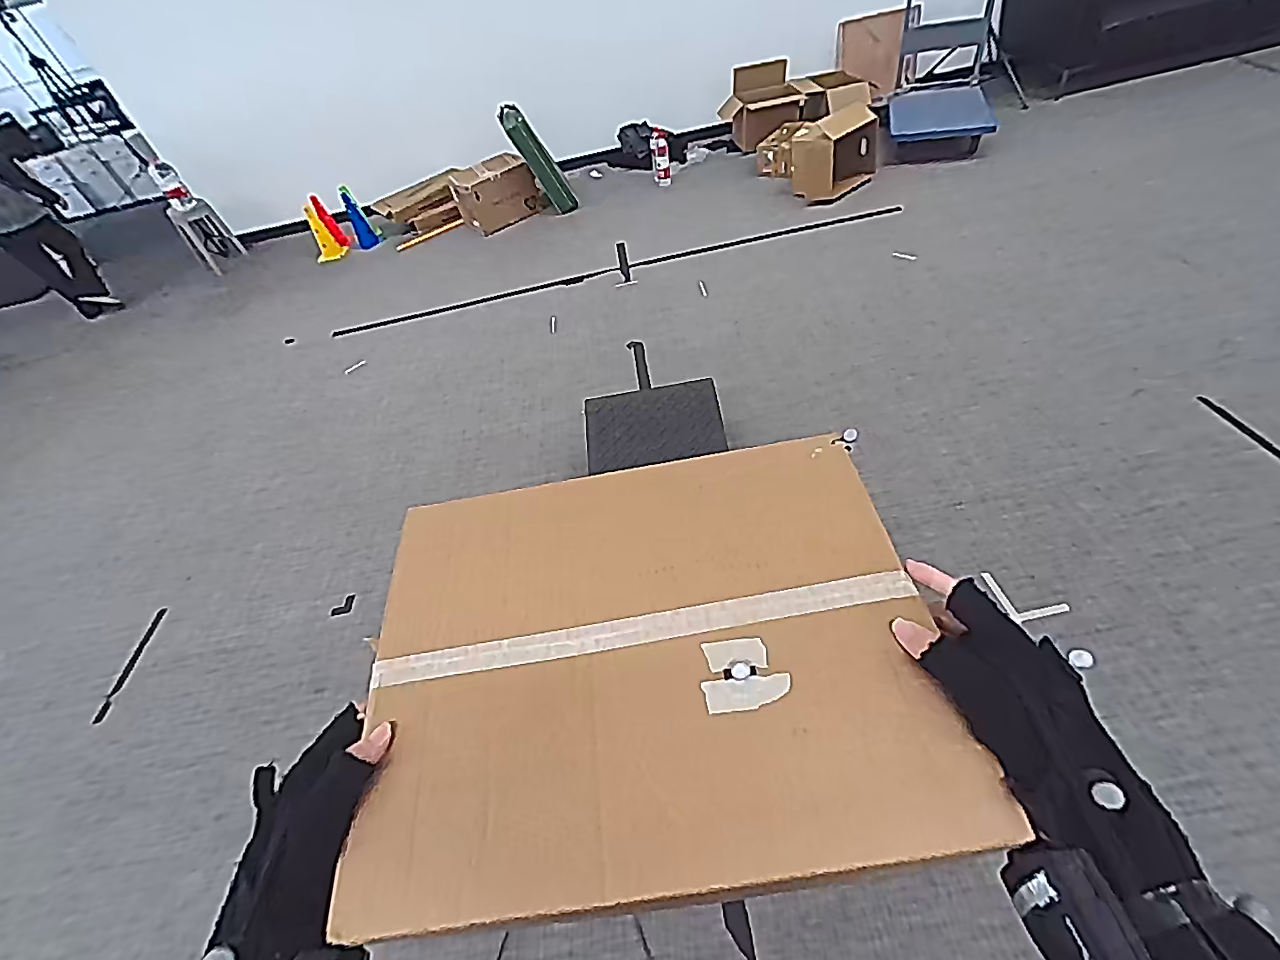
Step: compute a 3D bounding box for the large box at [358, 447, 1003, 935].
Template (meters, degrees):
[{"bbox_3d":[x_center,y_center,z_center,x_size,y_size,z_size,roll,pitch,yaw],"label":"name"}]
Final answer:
[{"bbox_3d":[0.022,0.213,0.530,0.408,0.320,0.320,-10,51,2],"label":"large box"}]
